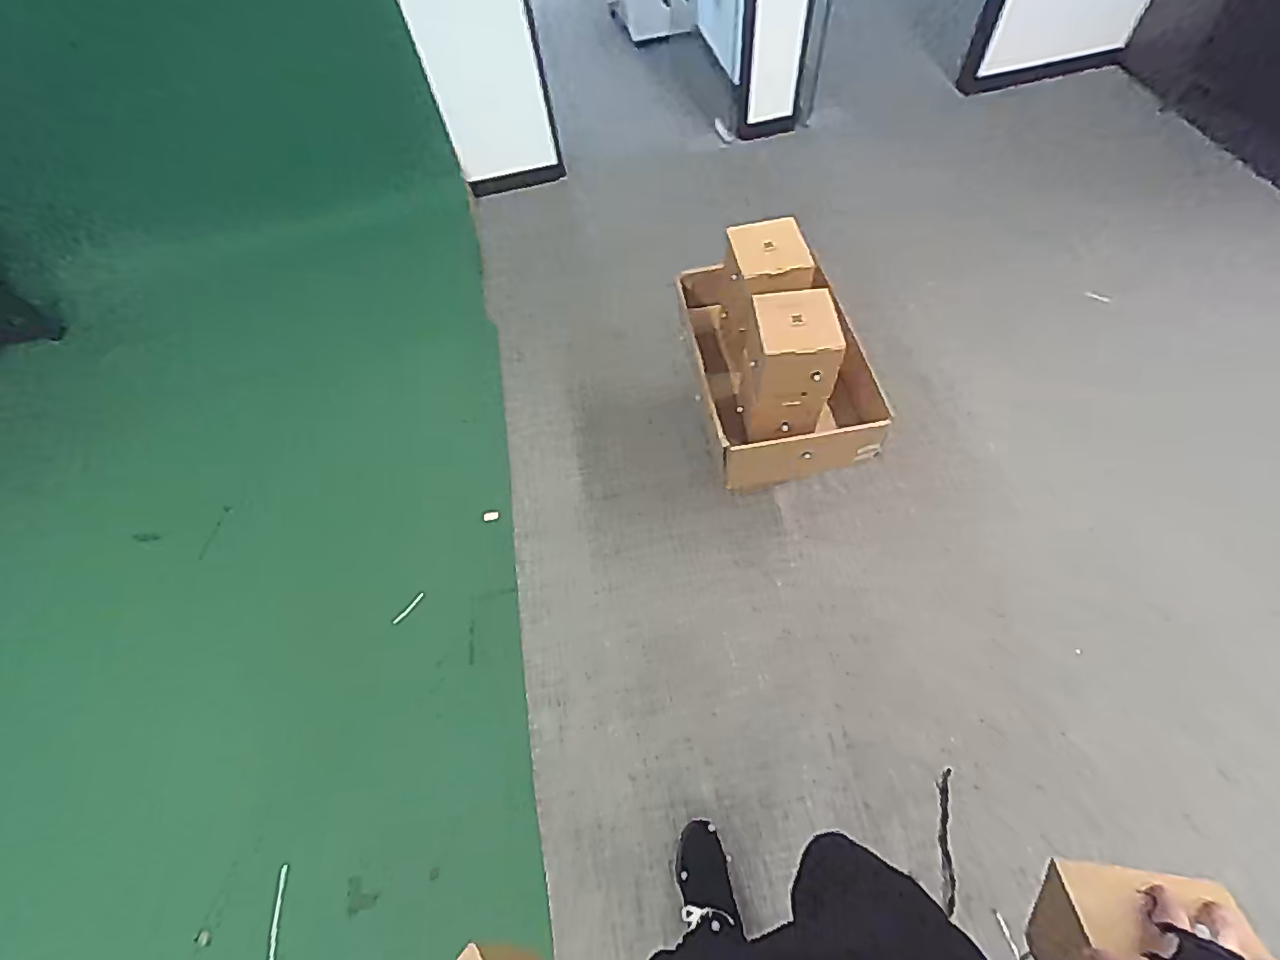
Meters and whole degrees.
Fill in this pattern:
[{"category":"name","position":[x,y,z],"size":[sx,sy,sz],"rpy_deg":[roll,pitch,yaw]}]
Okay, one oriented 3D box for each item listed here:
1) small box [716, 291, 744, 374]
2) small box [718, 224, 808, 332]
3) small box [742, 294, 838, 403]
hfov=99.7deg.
[{"category":"small box","position":[0.305,-0.417,1.474],"size":[0.168,0.176,0.179],"rpy_deg":[-10,61,0]},{"category":"small box","position":[0.292,-0.493,1.331],"size":[0.168,0.176,0.179],"rpy_deg":[-10,62,-2]},{"category":"small box","position":[0.324,-0.284,1.204],"size":[0.168,0.176,0.179],"rpy_deg":[-4,59,2]}]
